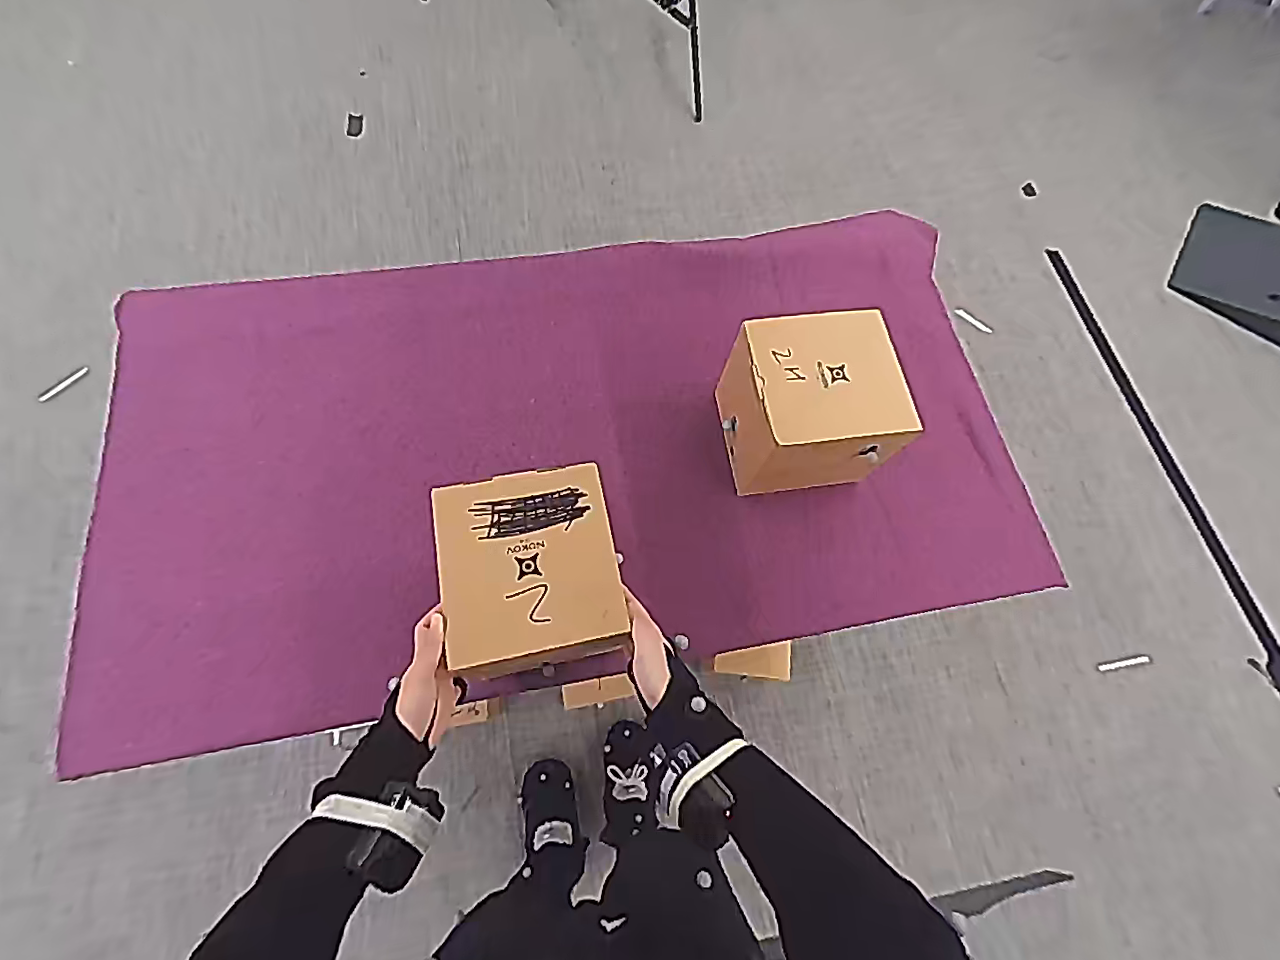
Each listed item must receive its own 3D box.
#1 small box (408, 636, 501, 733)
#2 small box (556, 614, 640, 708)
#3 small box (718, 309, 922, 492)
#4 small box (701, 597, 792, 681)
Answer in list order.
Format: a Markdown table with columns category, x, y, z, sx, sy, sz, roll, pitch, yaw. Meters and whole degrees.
| category | x | y | z | sx | sy | sz | roll | pitch | yaw |
| --- | --- | --- | --- | --- | --- | --- | --- | --- | --- |
| small box | -0.413 | 0.461 | 1.219 | 0.168 | 0.176 | 0.179 | -7 | 69 | -7 |
| small box | -0.101 | 0.421 | 1.256 | 0.168 | 0.176 | 0.179 | -9 | 72 | -7 |
| small box | 0.213 | -0.094 | 0.691 | 0.179 | 0.176 | 0.168 | -7 | 70 | -6 |
| small box | 0.251 | 0.384 | 1.299 | 0.179 | 0.176 | 0.168 | 7 | 70 | -1 |
